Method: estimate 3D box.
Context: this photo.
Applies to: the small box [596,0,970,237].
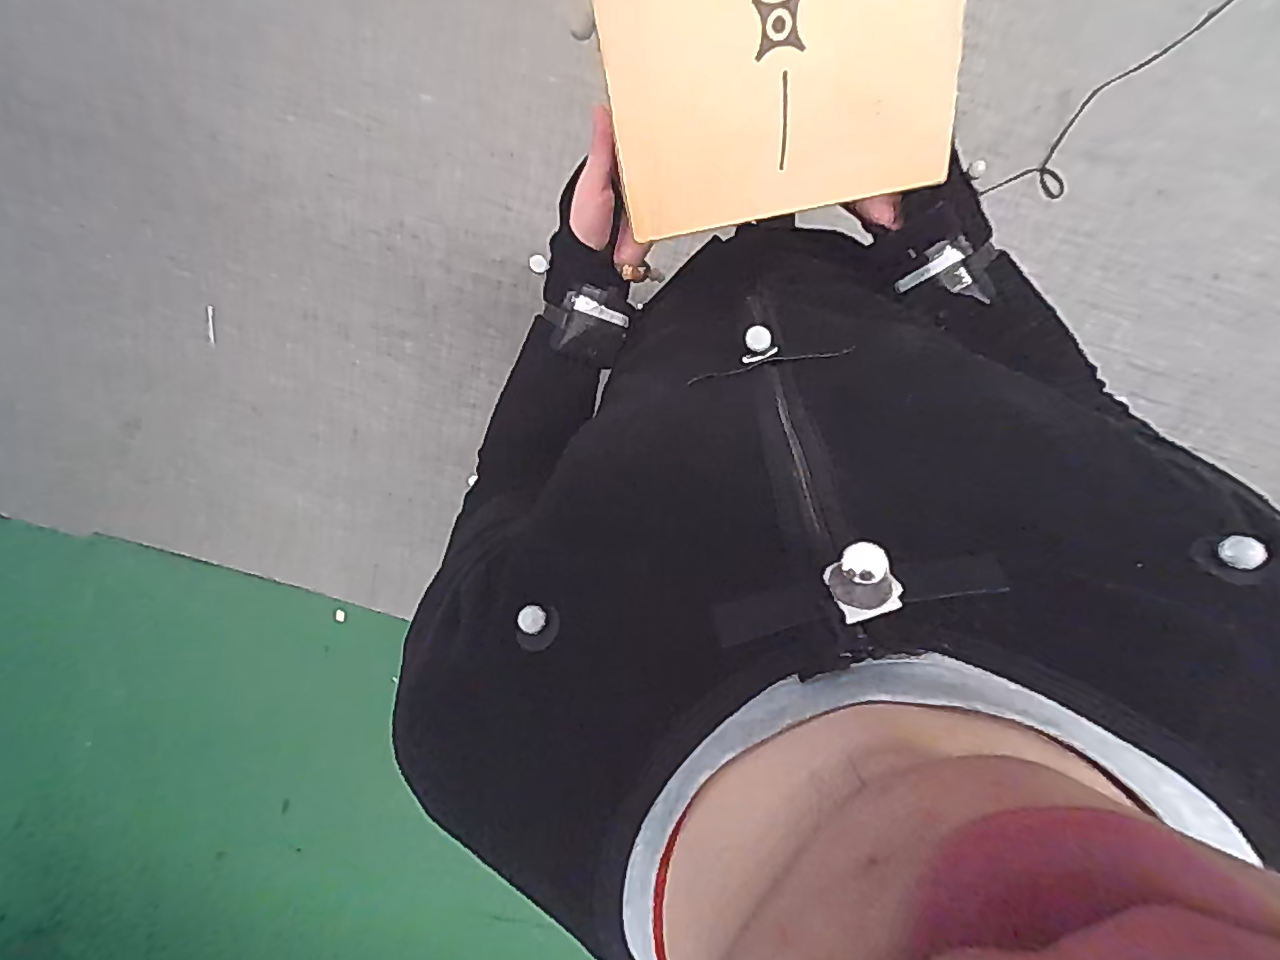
[{"bbox_3d":[0.062,-0.256,0.309,0.168,0.176,0.179,-9,122,3],"label":"small box"}]
